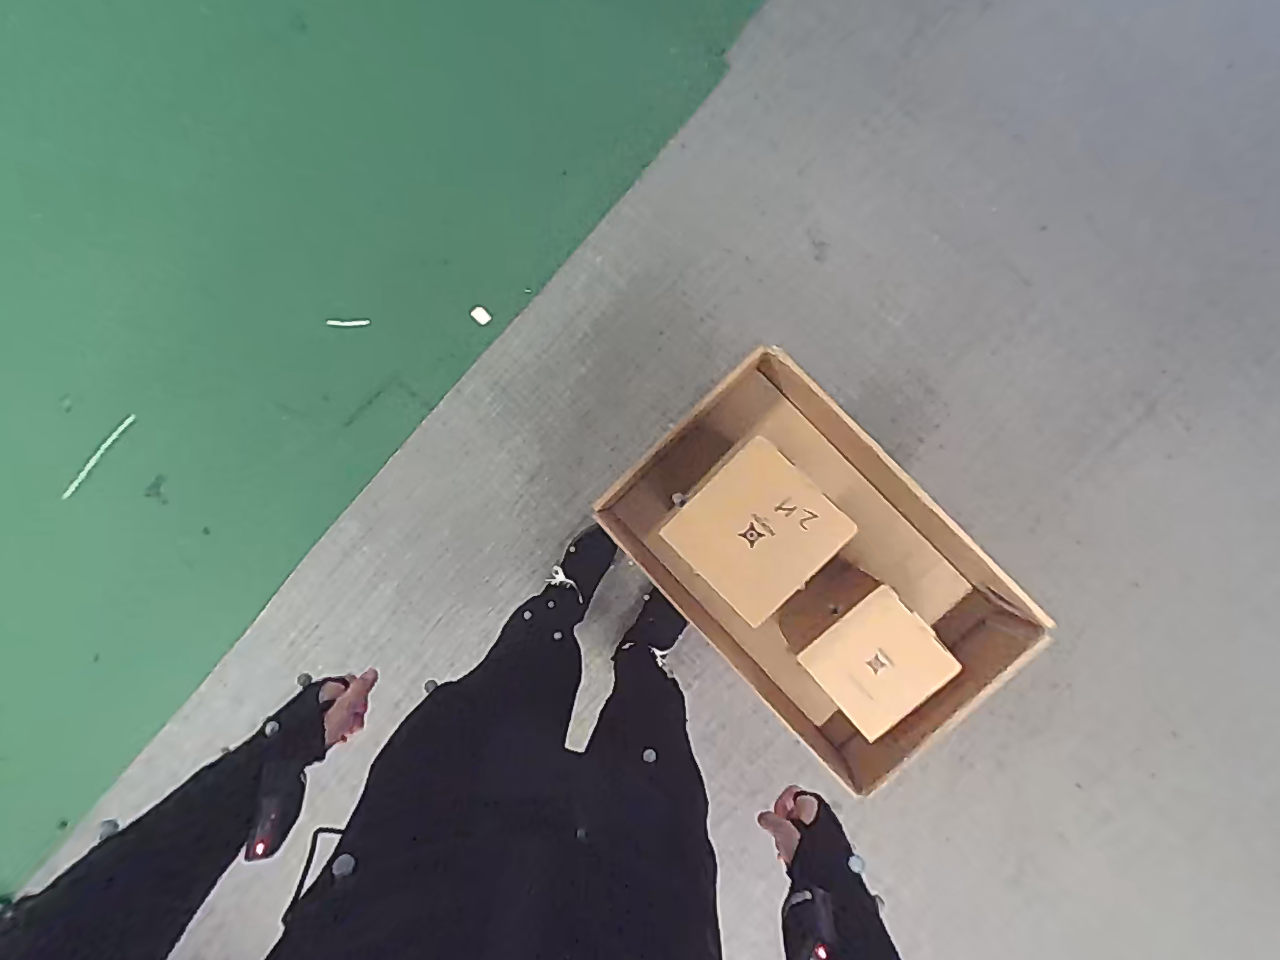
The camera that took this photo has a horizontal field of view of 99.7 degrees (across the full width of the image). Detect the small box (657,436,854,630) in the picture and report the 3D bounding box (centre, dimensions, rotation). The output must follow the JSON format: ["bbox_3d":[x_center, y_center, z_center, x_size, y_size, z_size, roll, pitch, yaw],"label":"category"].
[{"bbox_3d":[0.145,0.063,0.723,0.179,0.176,0.168,-44,87,5],"label":"small box"}]
